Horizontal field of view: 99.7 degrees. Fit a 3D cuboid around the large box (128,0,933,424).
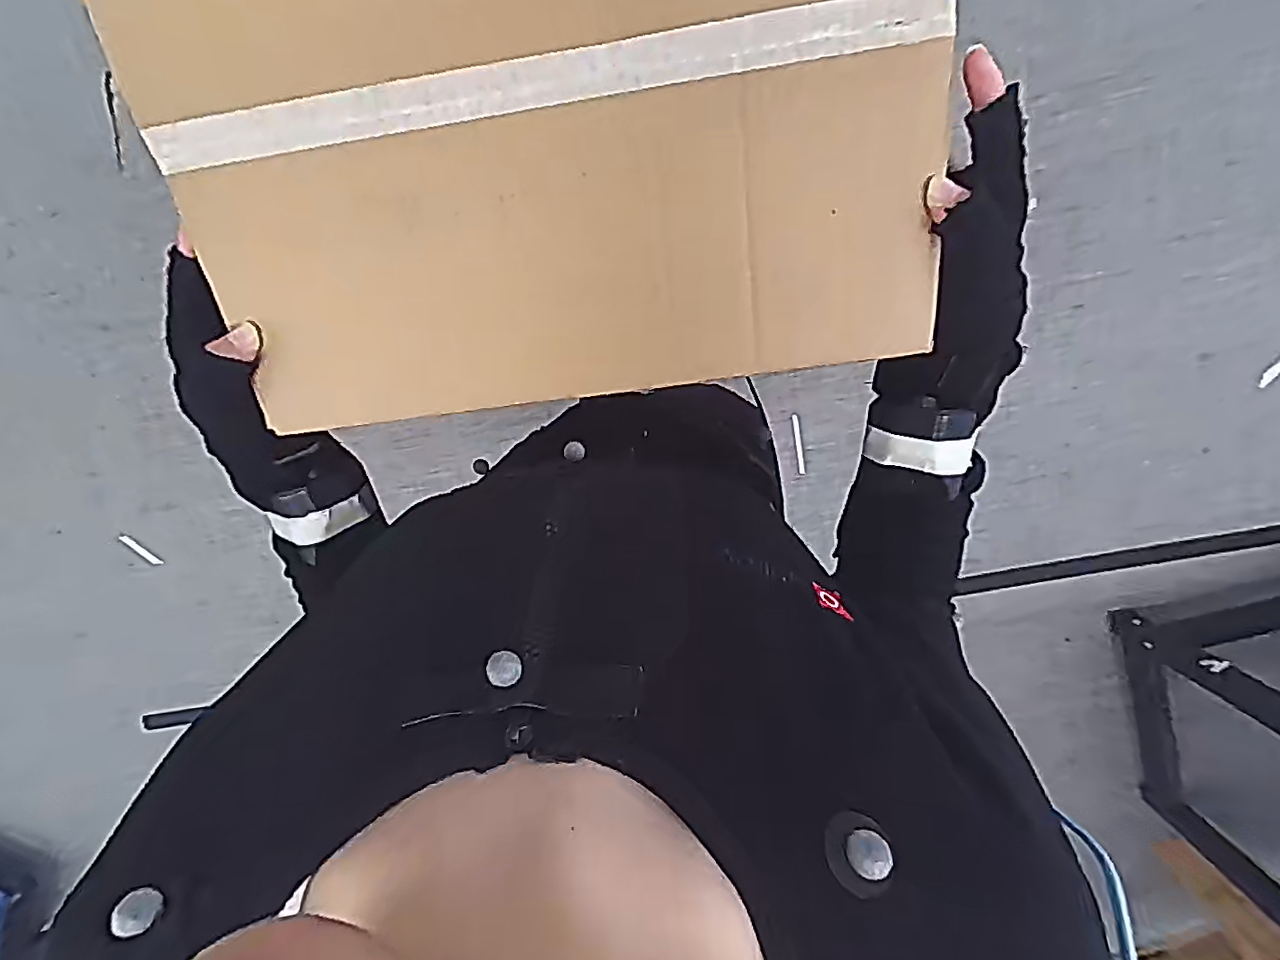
[{"bbox_3d":[-0.049,-0.256,0.420,0.408,0.320,0.320,-7,113,4],"label":"large box"}]
